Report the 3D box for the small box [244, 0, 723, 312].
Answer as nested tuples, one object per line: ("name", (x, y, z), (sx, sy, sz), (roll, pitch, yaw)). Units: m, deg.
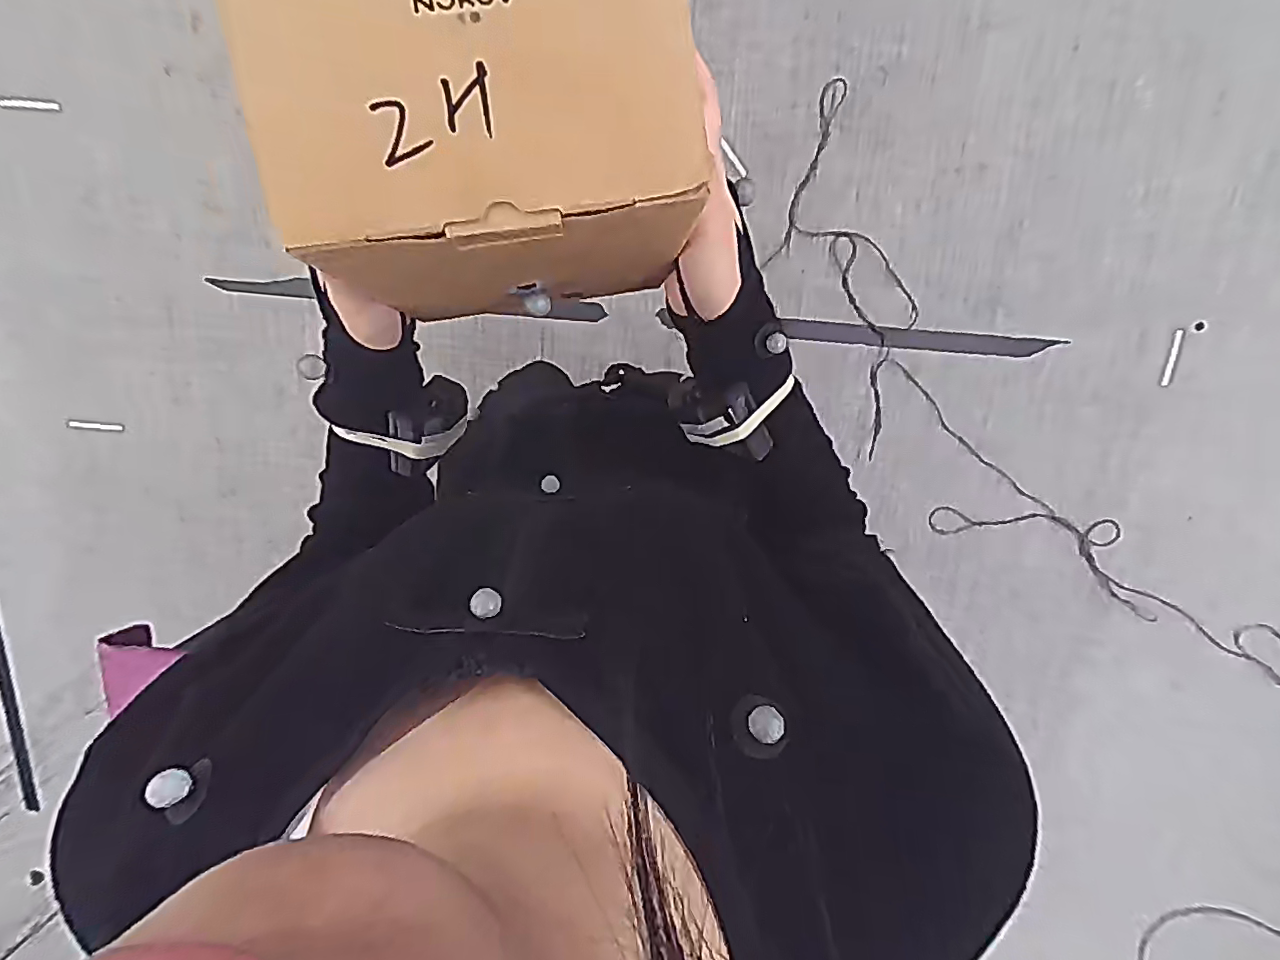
("small box", (-0.067, -0.197, 0.272), (0.168, 0.176, 0.179), (-9, 99, -4))
